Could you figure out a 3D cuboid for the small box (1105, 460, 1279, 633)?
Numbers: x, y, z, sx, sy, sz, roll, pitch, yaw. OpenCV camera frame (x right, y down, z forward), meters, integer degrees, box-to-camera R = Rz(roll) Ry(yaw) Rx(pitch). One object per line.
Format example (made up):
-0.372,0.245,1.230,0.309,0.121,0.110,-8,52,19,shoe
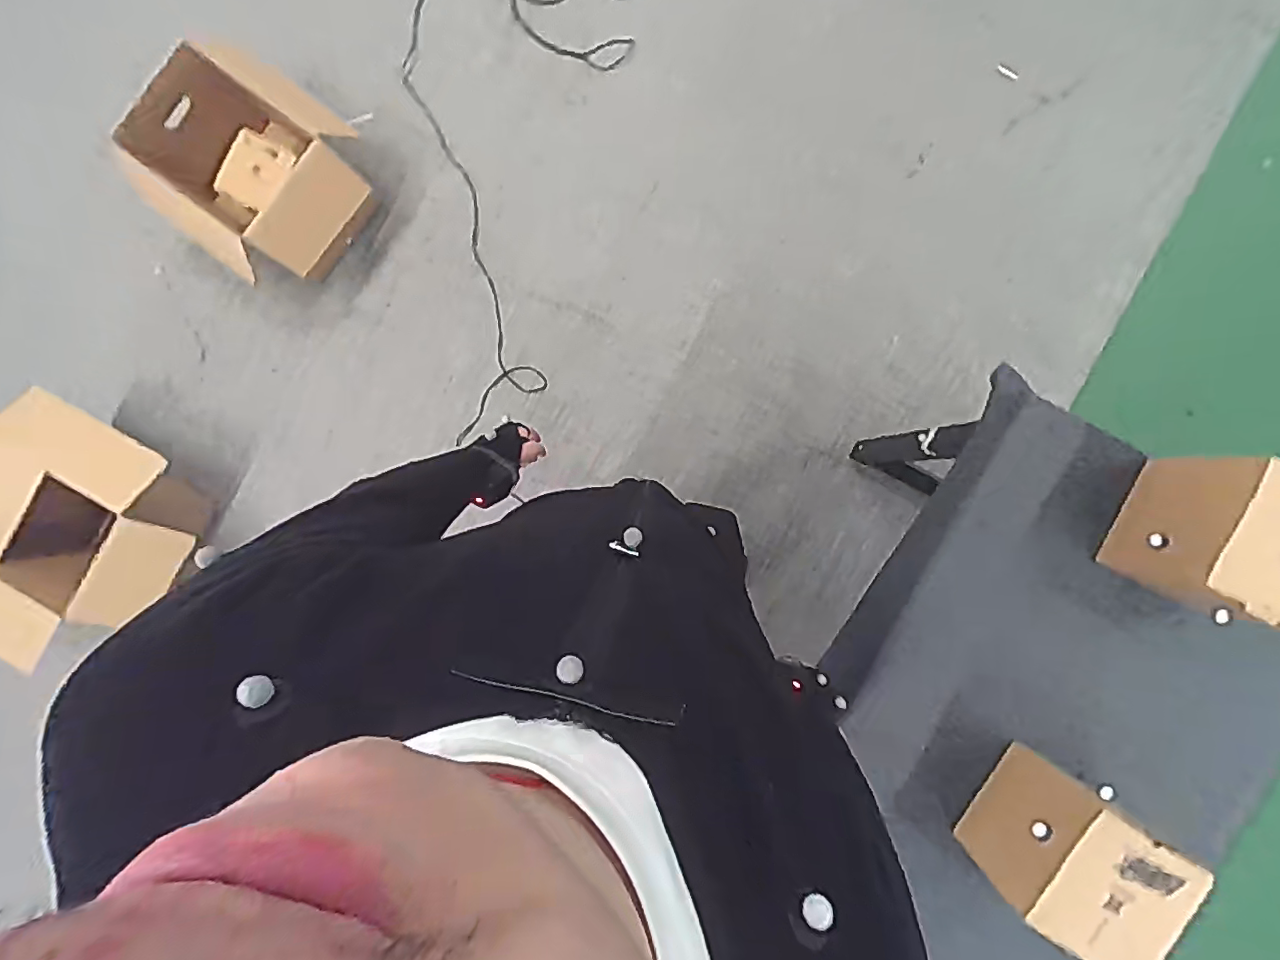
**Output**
0.786,0.087,0.722,0.168,0.176,0.179,26,91,0,small box

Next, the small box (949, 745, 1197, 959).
0.577,0.514,0.751,0.168,0.176,0.179,36,92,3,small box
